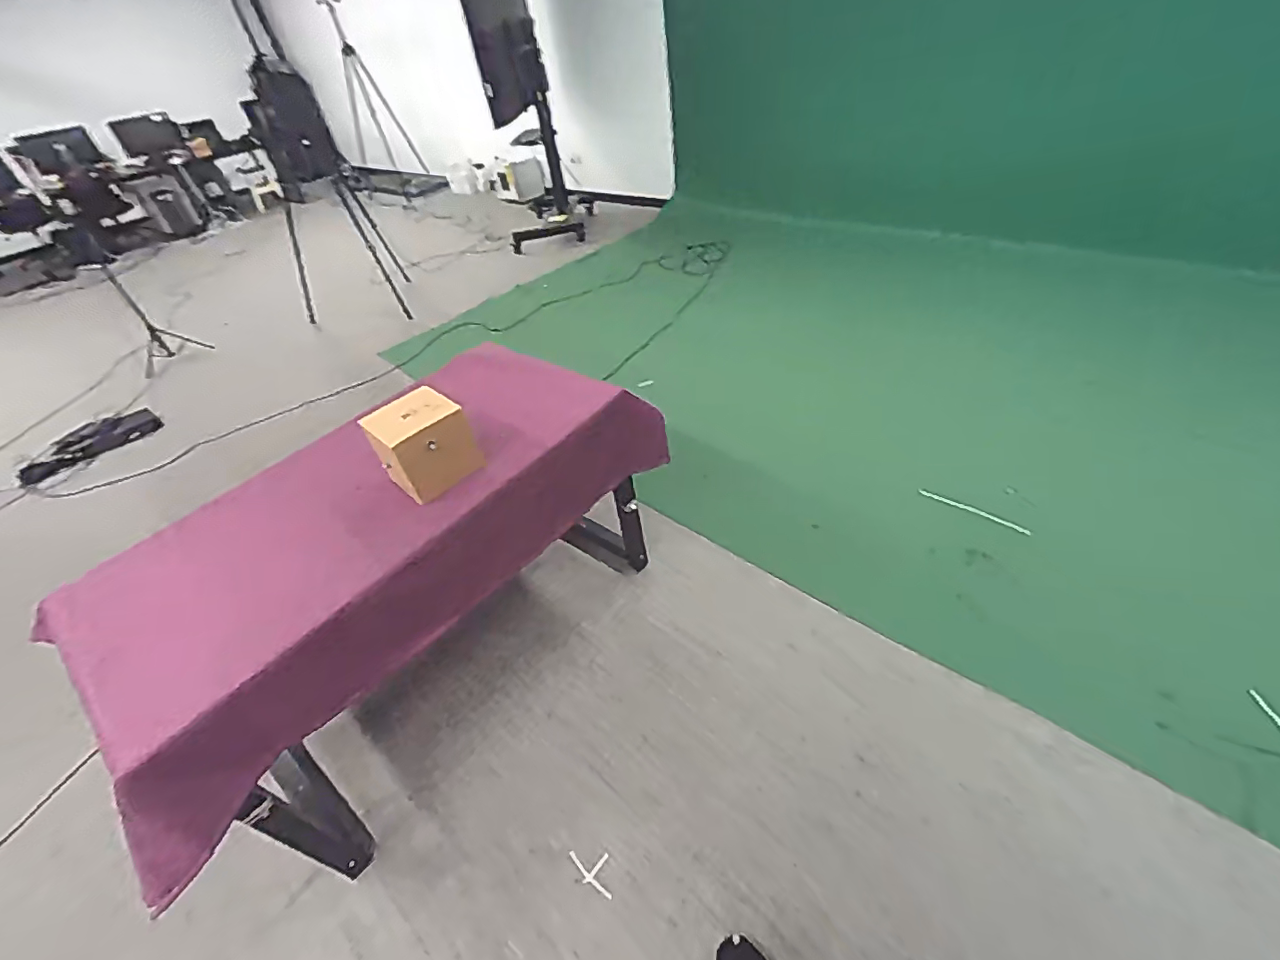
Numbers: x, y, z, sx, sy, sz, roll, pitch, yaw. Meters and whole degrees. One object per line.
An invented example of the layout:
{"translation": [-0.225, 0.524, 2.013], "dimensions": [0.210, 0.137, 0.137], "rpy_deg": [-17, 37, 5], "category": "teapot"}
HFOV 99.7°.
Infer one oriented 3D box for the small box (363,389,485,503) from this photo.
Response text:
{"translation": [-0.490, -0.076, 1.243], "dimensions": [0.168, 0.176, 0.179], "rpy_deg": [29, 55, 36], "category": "small box"}
